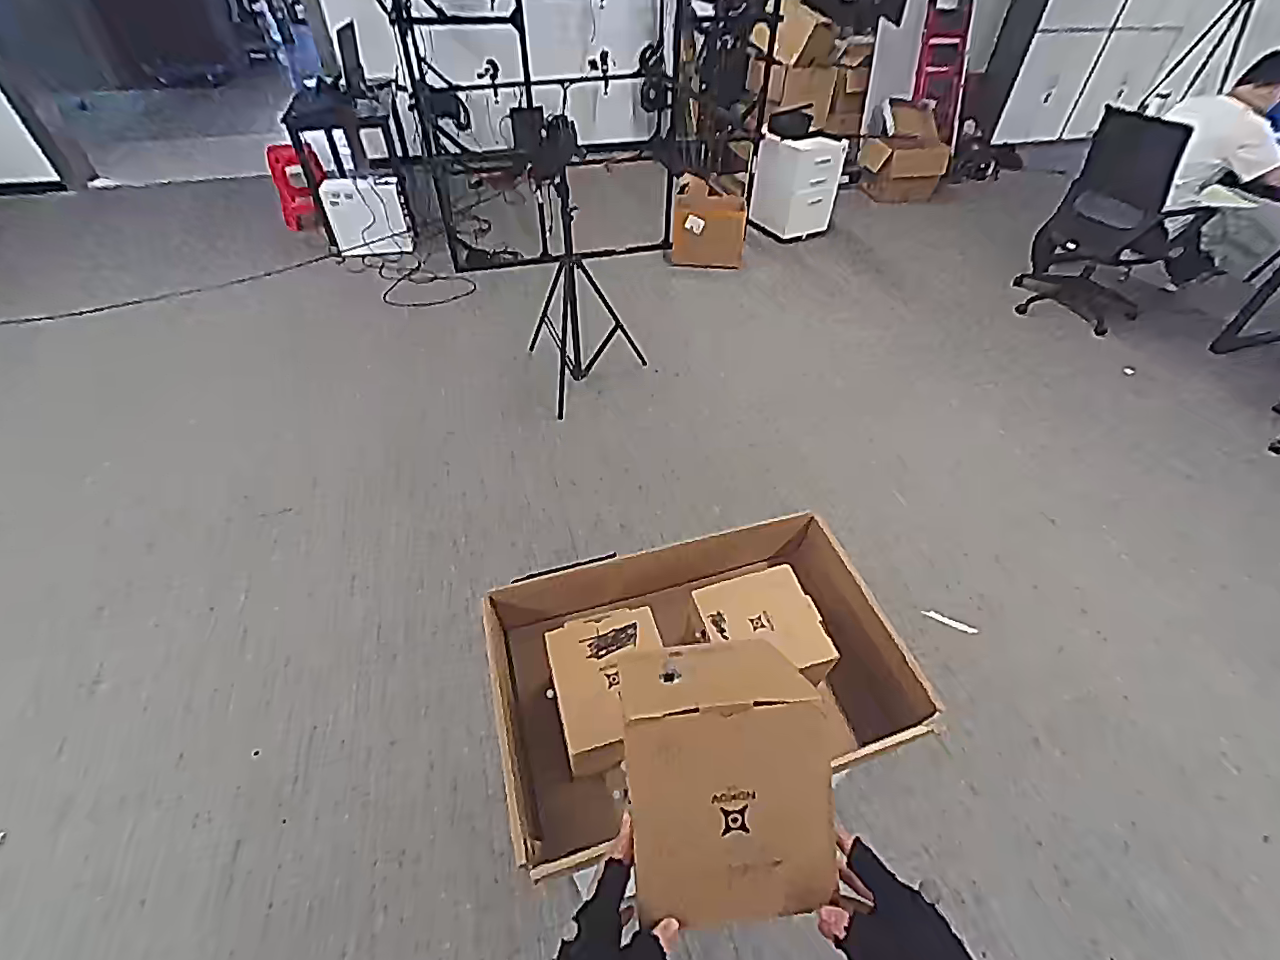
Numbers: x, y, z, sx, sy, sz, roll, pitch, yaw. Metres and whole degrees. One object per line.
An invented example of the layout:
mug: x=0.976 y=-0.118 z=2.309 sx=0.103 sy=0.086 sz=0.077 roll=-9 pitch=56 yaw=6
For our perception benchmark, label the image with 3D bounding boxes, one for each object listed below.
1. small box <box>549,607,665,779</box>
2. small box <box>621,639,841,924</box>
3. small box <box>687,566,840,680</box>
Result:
small box: x=-0.039 y=0.325 z=0.826 sx=0.168 sy=0.176 sz=0.179 roll=-12 pitch=53 yaw=-13
small box: x=0.072 y=0.261 z=0.514 sx=0.168 sy=0.179 sz=0.176 roll=-4 pitch=2 yaw=-4
small box: x=0.188 y=0.268 z=0.886 sx=0.179 sy=0.176 sz=0.168 roll=-13 pitch=51 yaw=-12
